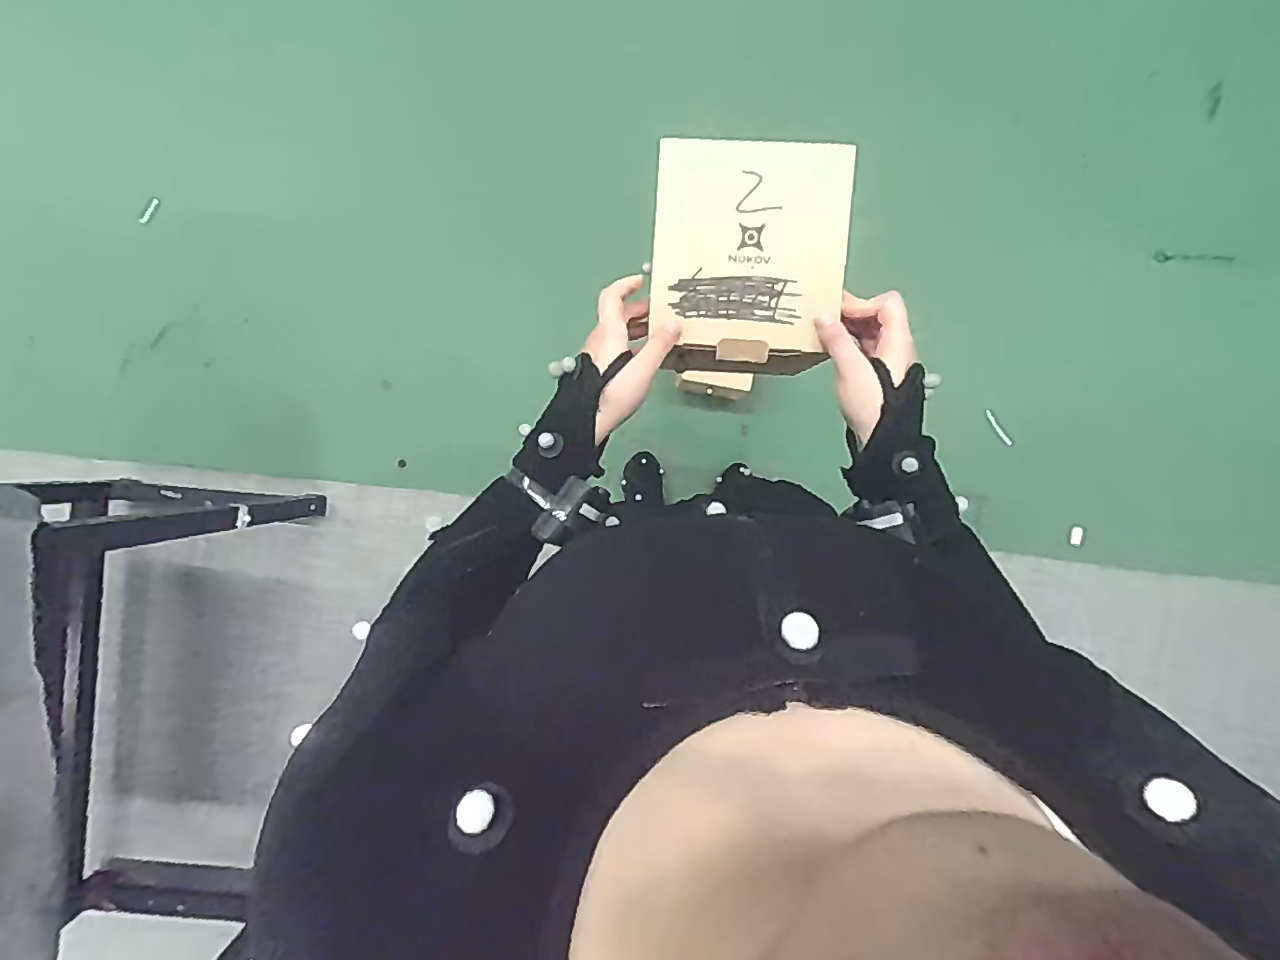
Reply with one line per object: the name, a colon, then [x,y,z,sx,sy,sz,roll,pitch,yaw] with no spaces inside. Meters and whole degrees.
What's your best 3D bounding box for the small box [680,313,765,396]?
small box: [0.206,-0.314,1.392,0.179,0.176,0.168,10,92,0]
